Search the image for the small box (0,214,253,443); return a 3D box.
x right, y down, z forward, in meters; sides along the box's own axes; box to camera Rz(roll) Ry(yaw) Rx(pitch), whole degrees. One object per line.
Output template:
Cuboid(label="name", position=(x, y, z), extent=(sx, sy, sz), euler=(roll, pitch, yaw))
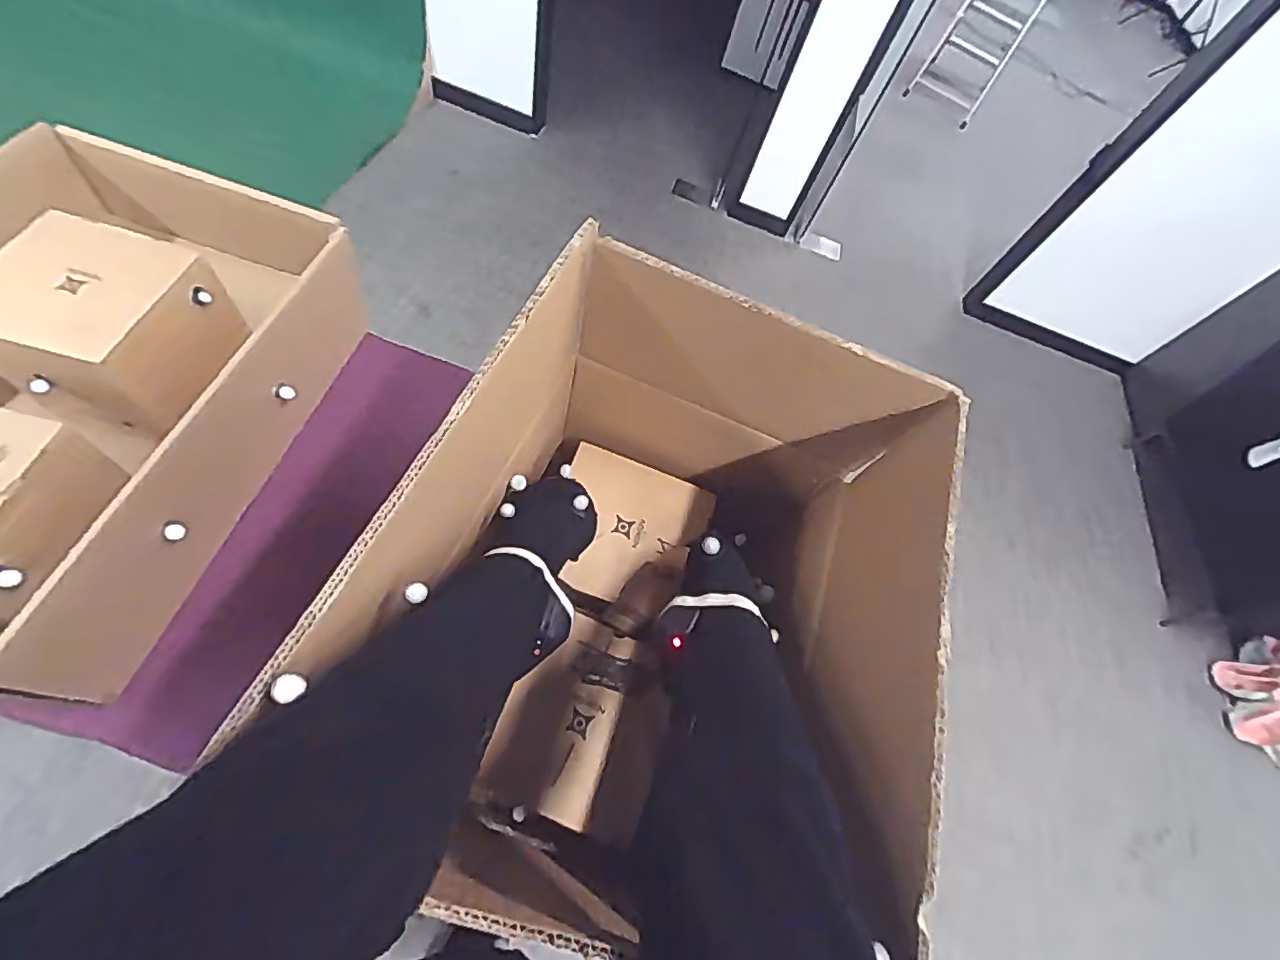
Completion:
Cuboid(label="small box", position=(-0.608, -0.168, 0.639), extent=(0.168, 0.176, 0.179), euler=(15, 60, -5))
